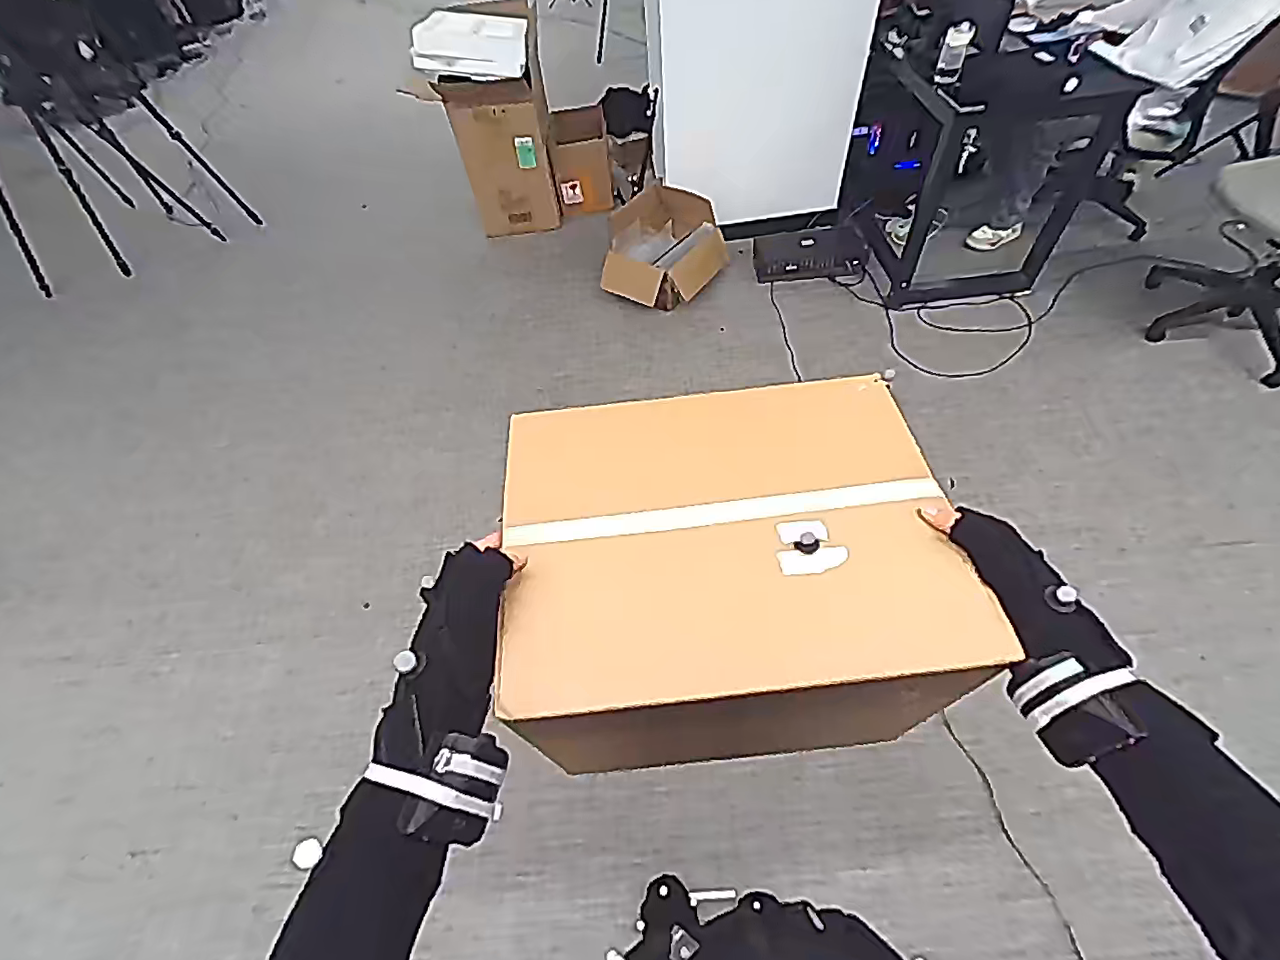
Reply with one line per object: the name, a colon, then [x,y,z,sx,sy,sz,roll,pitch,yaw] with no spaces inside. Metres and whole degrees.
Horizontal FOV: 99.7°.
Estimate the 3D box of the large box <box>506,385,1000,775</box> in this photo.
large box: [0.083,0.127,0.630,0.408,0.320,0.320,-7,54,0]
